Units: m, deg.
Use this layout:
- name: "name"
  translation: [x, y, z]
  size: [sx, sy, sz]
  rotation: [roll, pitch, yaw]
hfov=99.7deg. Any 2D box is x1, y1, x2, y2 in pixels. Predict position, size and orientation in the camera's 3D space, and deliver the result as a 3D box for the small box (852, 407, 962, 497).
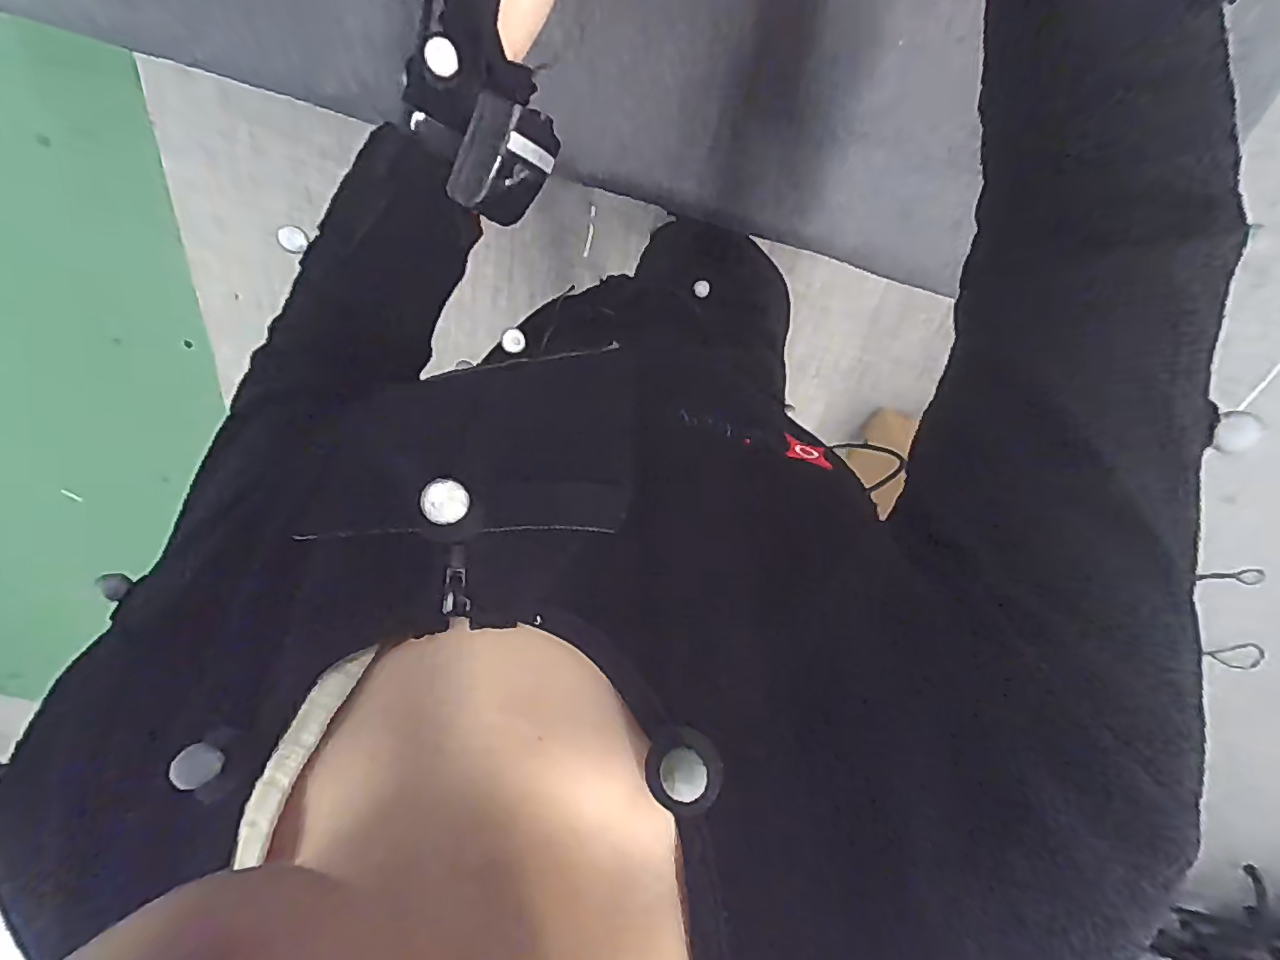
- name: "small box"
  translation: [0.637, -0.048, 1.320]
  size: [0.168, 0.176, 0.179]
  rotation: [17, 127, -3]
